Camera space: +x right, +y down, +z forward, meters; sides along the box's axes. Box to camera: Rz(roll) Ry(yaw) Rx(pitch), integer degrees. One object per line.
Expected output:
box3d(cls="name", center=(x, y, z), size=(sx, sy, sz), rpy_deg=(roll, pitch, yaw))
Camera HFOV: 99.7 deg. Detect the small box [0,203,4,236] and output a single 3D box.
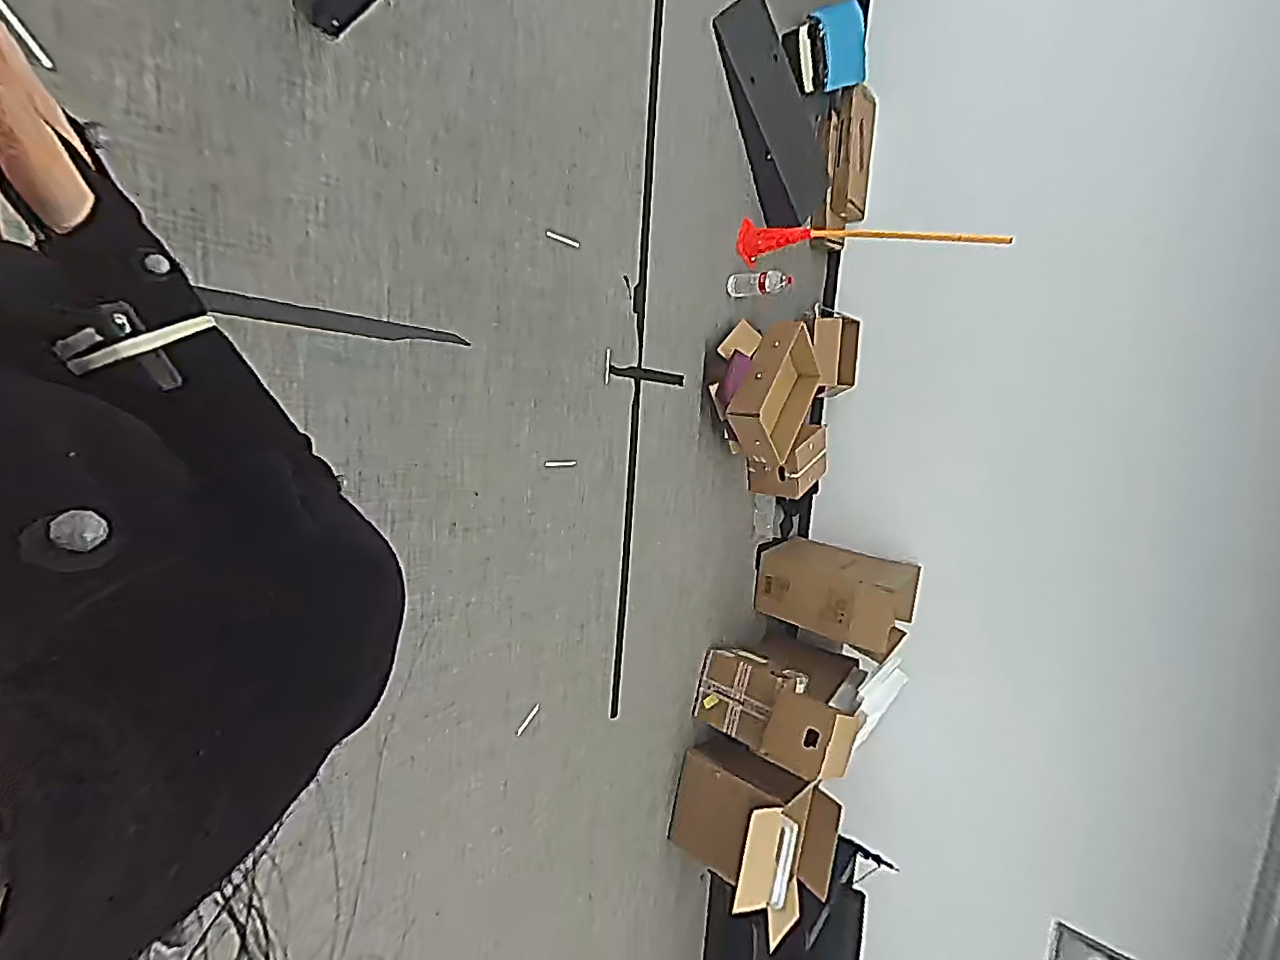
box3d(cls="small box", center=(-0.402, -0.215, 0.216), size=(0.168, 0.176, 0.179), rpy_deg=(-13, 102, -45))
